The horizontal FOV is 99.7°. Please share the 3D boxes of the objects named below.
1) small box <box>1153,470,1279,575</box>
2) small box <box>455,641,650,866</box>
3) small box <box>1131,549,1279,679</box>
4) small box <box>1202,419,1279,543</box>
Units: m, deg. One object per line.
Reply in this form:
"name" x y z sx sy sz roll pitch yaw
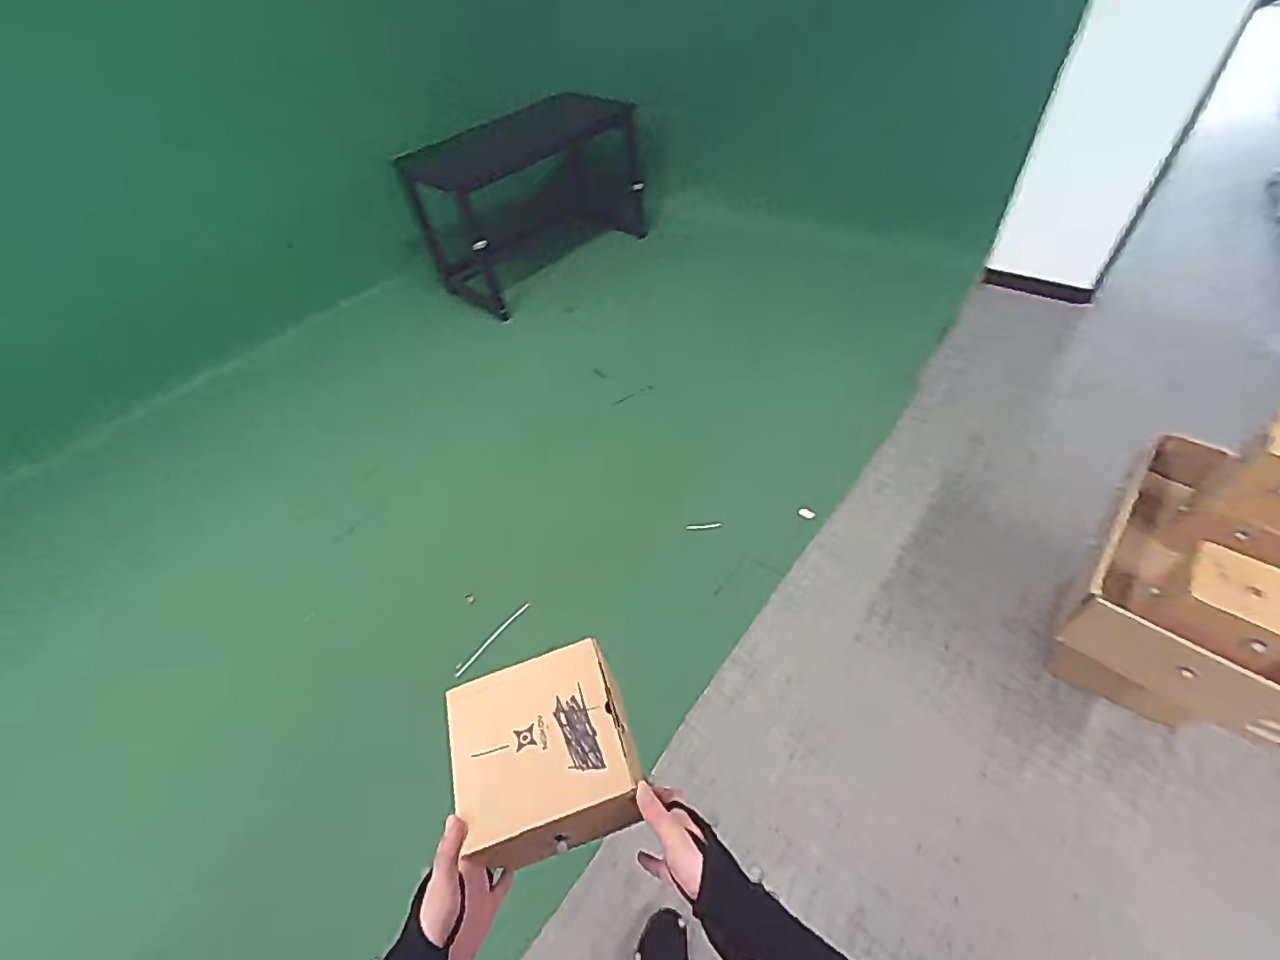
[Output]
"small box" 1.352 0.117 1.247 0.179 0.176 0.168 35 61 29
"small box" -0.092 0.315 0.619 0.179 0.176 0.168 -18 50 -5
"small box" 1.179 0.283 1.115 0.179 0.176 0.168 30 57 28
"small box" 1.341 0.009 1.124 0.179 0.176 0.168 33 61 30
